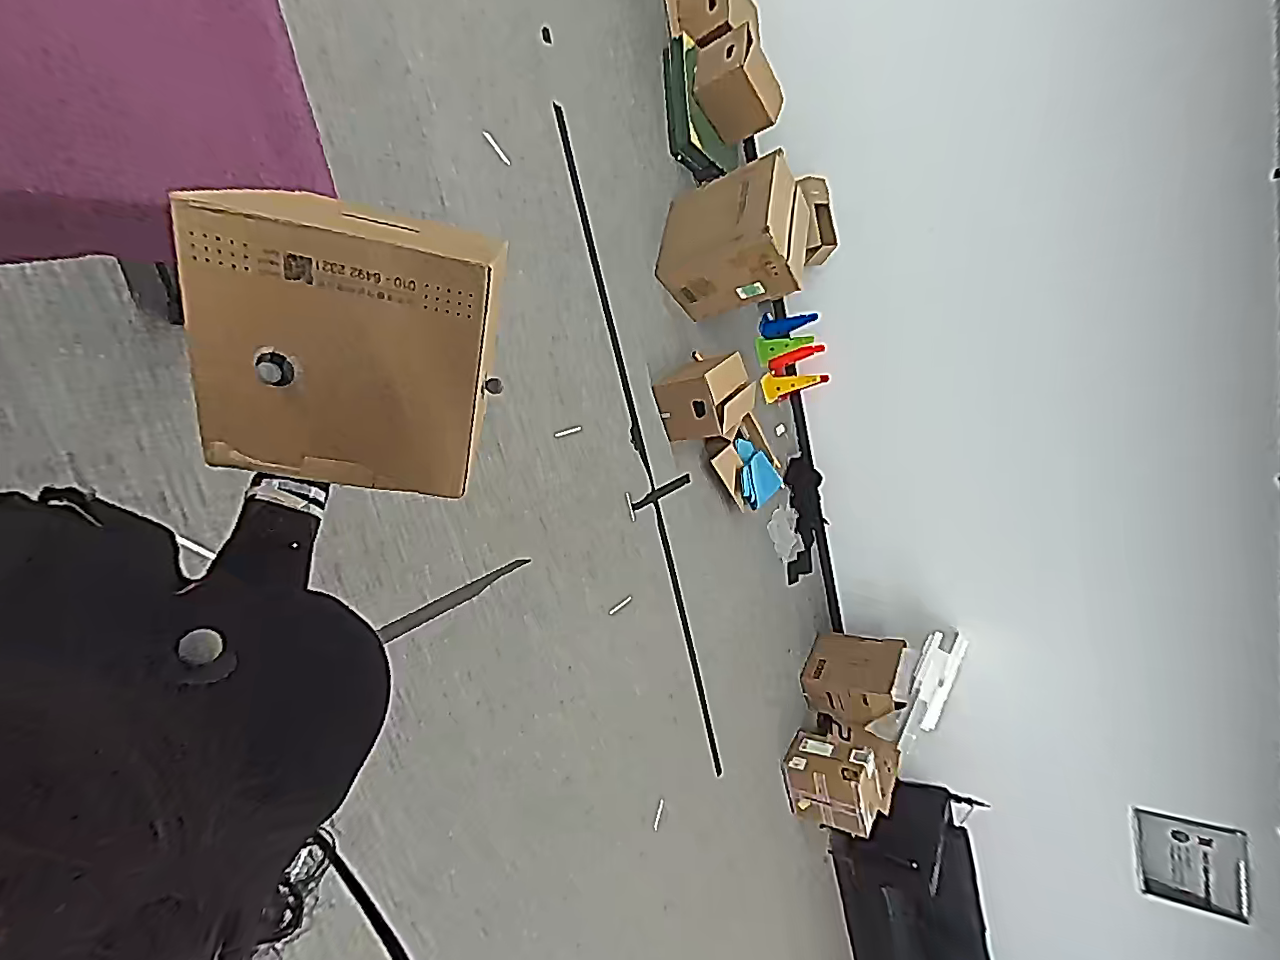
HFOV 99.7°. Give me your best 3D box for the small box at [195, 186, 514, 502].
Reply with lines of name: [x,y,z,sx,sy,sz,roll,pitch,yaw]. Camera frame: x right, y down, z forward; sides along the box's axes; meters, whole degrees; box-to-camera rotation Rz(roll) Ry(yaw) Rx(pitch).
small box: [-0.192,-0.107,0.404,0.168,0.179,0.176,10,117,-15]
